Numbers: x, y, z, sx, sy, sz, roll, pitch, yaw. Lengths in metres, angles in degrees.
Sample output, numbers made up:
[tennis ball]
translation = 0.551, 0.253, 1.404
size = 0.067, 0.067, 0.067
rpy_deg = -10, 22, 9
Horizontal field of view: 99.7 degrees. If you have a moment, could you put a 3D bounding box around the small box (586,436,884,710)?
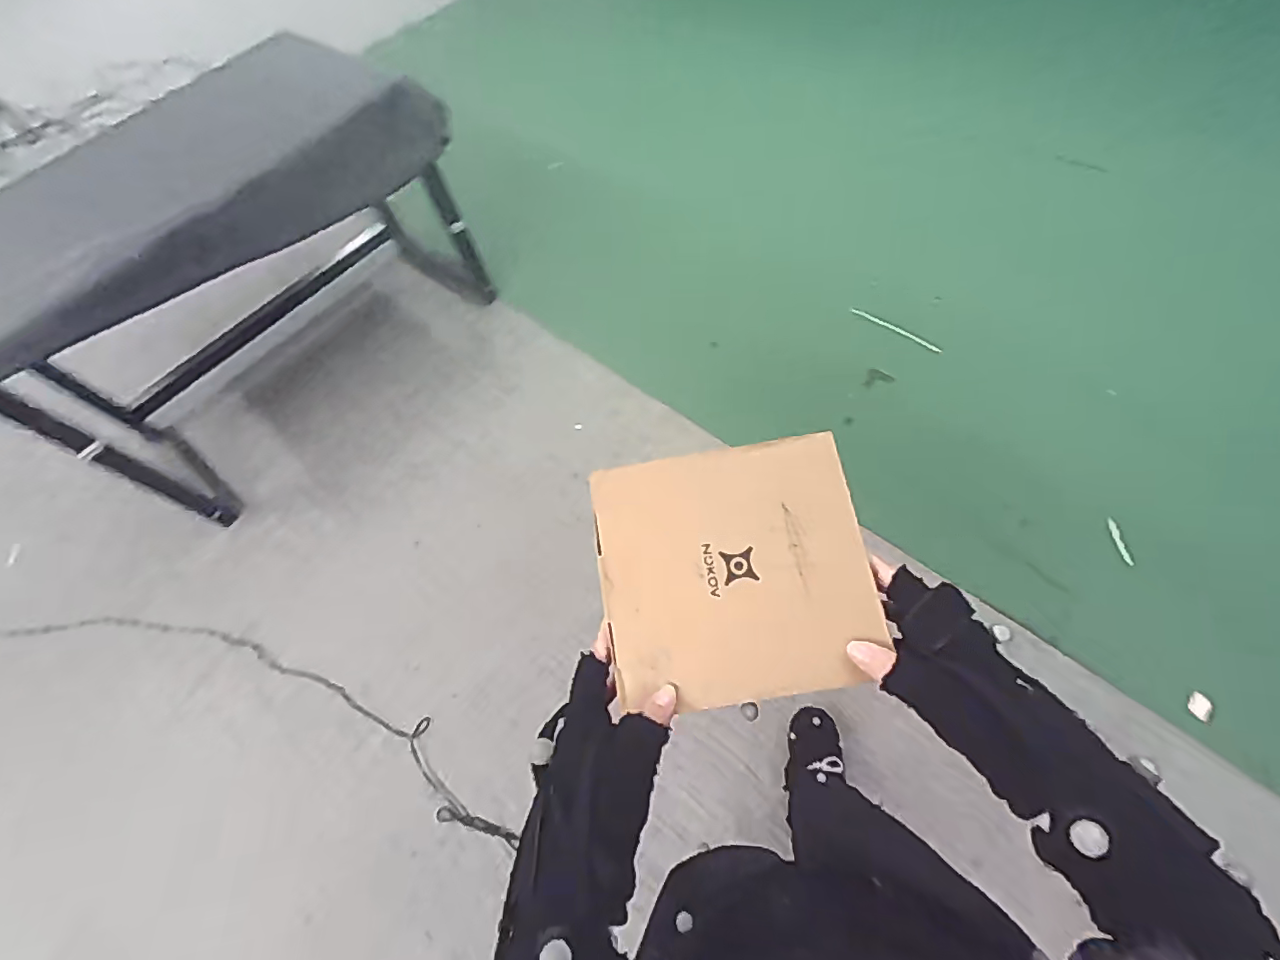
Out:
[small box]
translation = 0.063, 0.084, 0.446
size = 0.179, 0.176, 0.168
rpy_deg = -11, 72, -1
